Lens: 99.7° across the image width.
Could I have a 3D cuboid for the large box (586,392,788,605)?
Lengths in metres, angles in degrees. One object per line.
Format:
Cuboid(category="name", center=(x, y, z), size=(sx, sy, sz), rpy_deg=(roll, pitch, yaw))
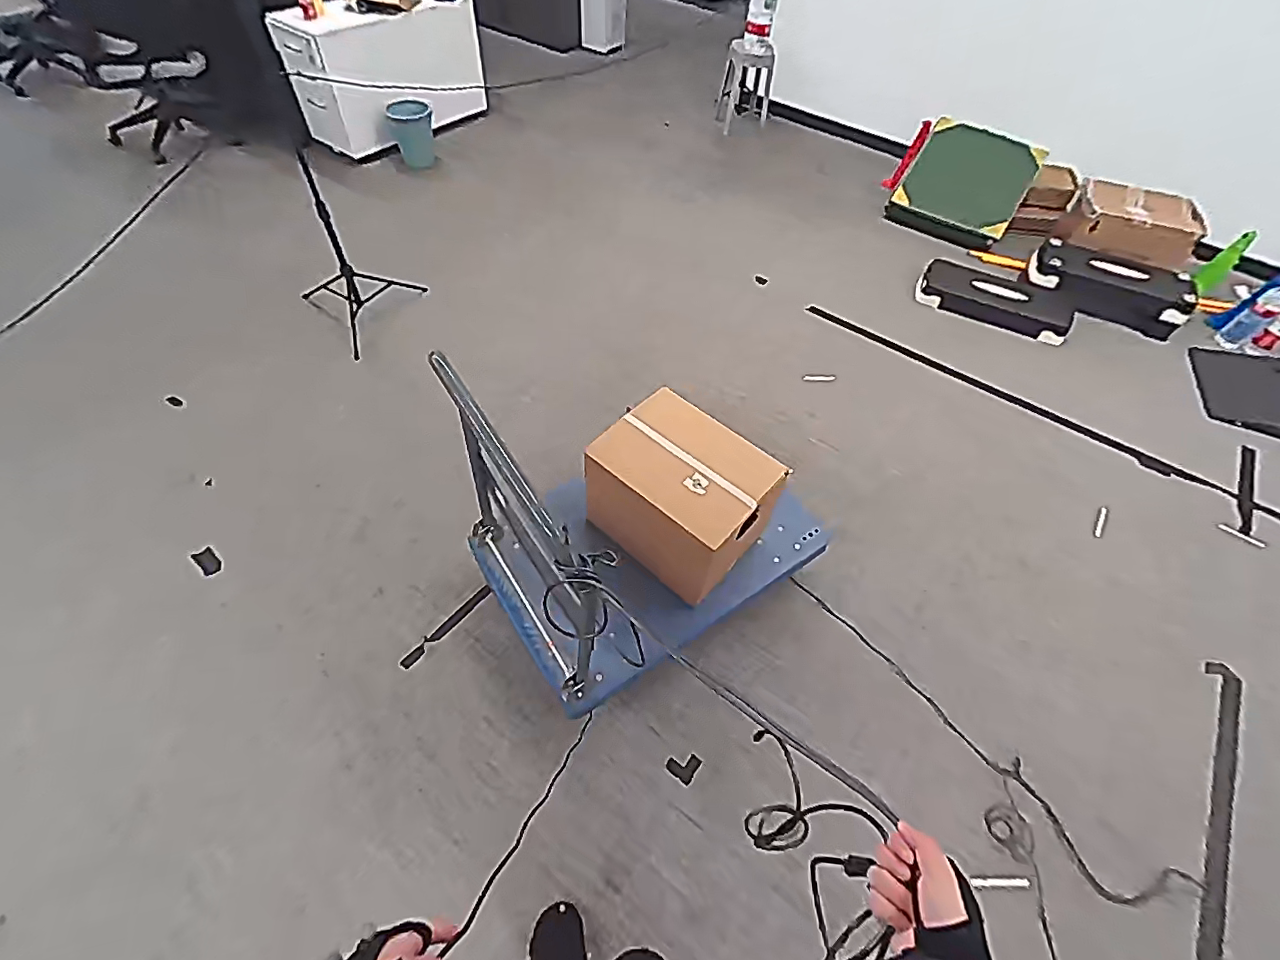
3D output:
Cuboid(category="large box", center=(0.101, 0.046, 1.424), size=(0.408, 0.320, 0.320), rpy_deg=(37, 60, 20))
